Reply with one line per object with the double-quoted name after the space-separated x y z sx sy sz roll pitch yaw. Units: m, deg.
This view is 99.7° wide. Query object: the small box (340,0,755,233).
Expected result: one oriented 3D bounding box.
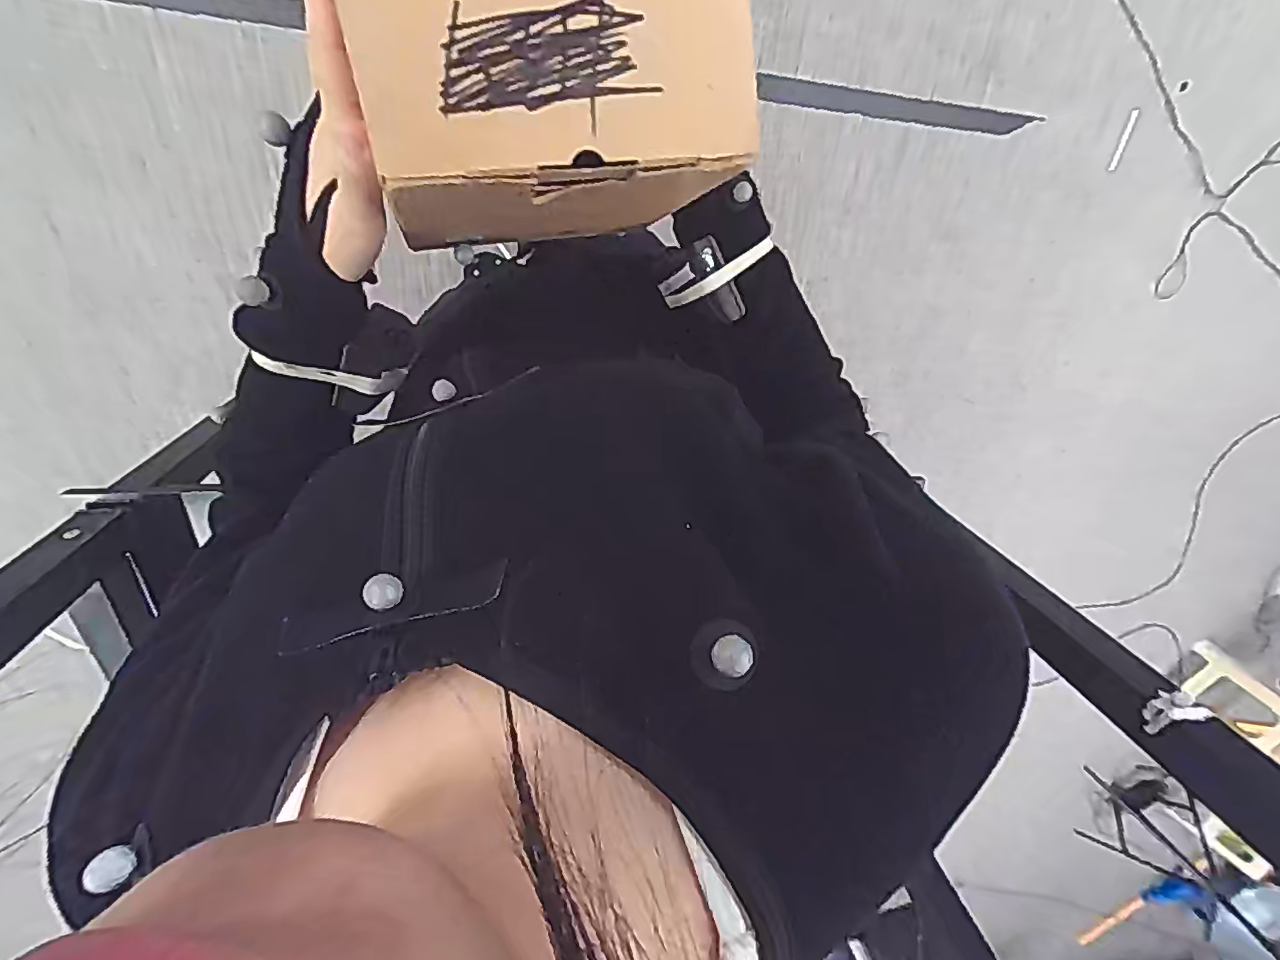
-0.058 -0.236 0.279 0.168 0.176 0.179 -13 107 -16 "small box"
